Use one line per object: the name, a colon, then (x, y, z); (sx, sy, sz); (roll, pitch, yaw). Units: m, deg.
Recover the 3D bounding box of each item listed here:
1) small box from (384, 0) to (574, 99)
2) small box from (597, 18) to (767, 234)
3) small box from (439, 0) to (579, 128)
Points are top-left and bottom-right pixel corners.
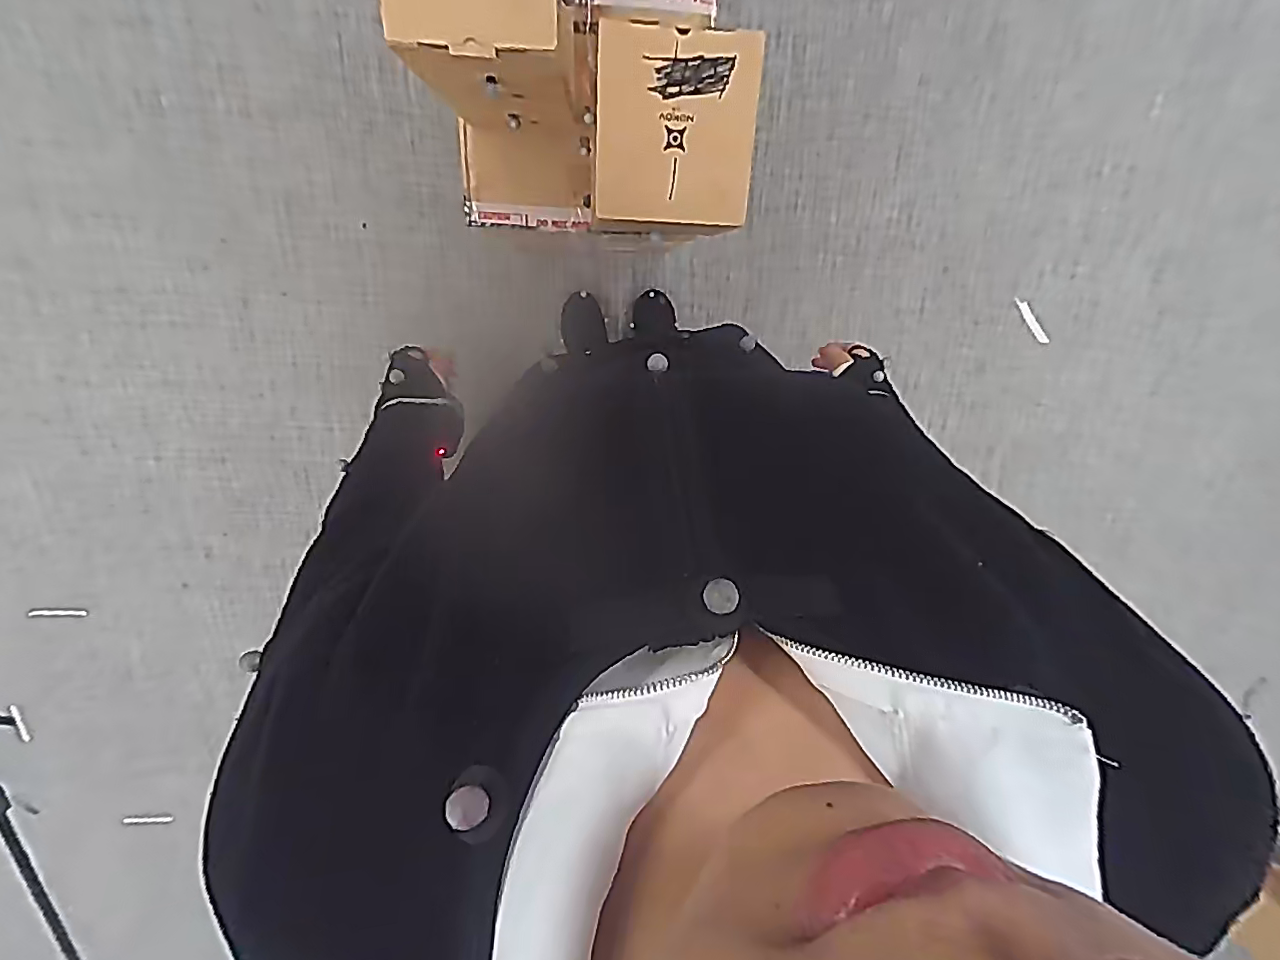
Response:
small box: (-0.158, -0.523, 0.566); (0.168, 0.176, 0.179); (1, 112, -2)
small box: (0.035, -0.391, 0.631); (0.168, 0.176, 0.179); (2, 112, -4)
small box: (-0.170, -0.591, 0.716); (0.168, 0.176, 0.179); (-1, 112, -2)
